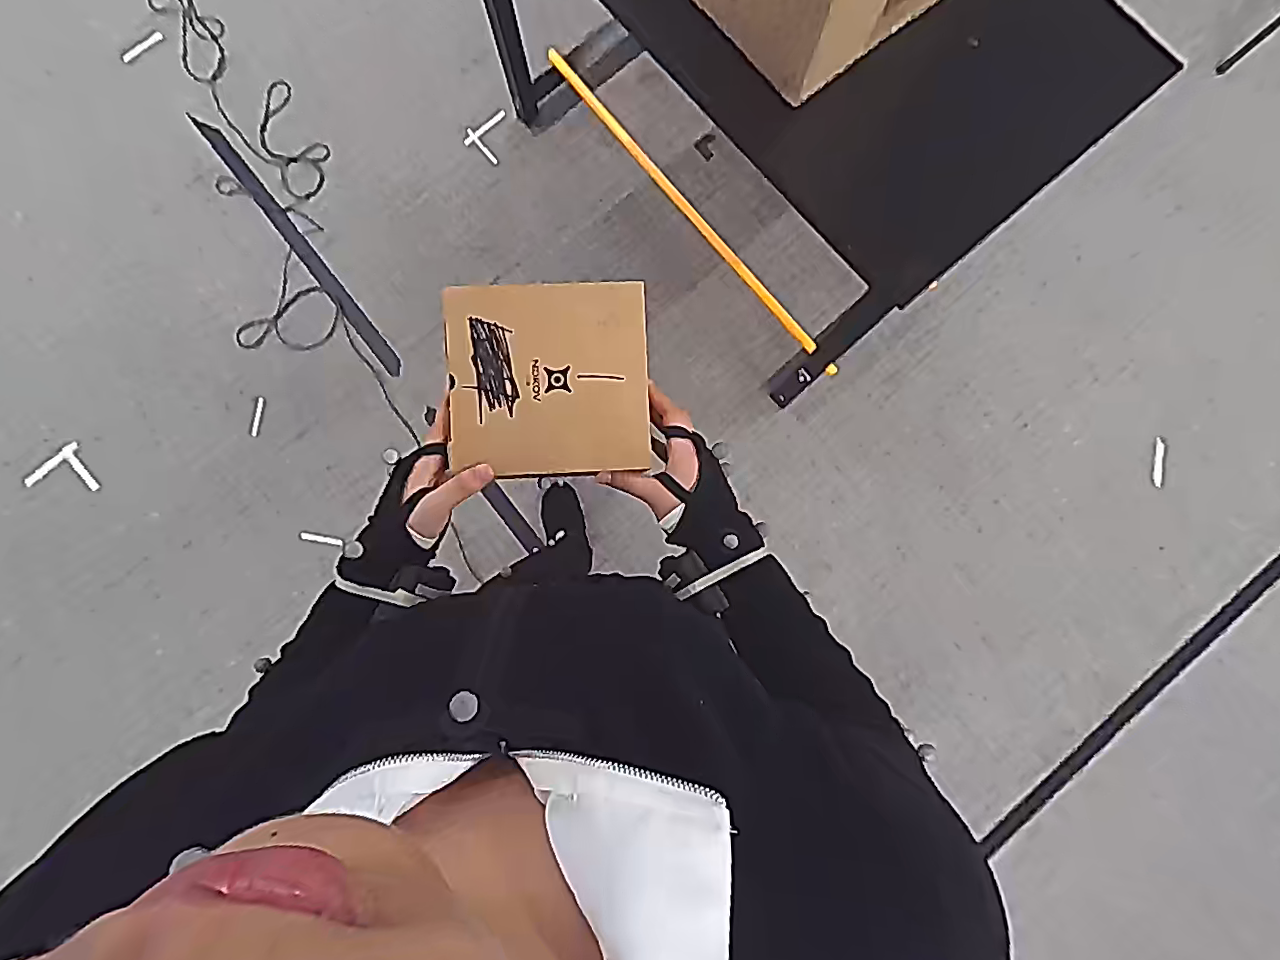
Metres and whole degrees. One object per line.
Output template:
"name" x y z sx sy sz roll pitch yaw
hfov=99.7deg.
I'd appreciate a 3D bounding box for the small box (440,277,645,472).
"small box" -0.087 -0.093 0.545 0.179 0.176 0.168 -1 91 -4
